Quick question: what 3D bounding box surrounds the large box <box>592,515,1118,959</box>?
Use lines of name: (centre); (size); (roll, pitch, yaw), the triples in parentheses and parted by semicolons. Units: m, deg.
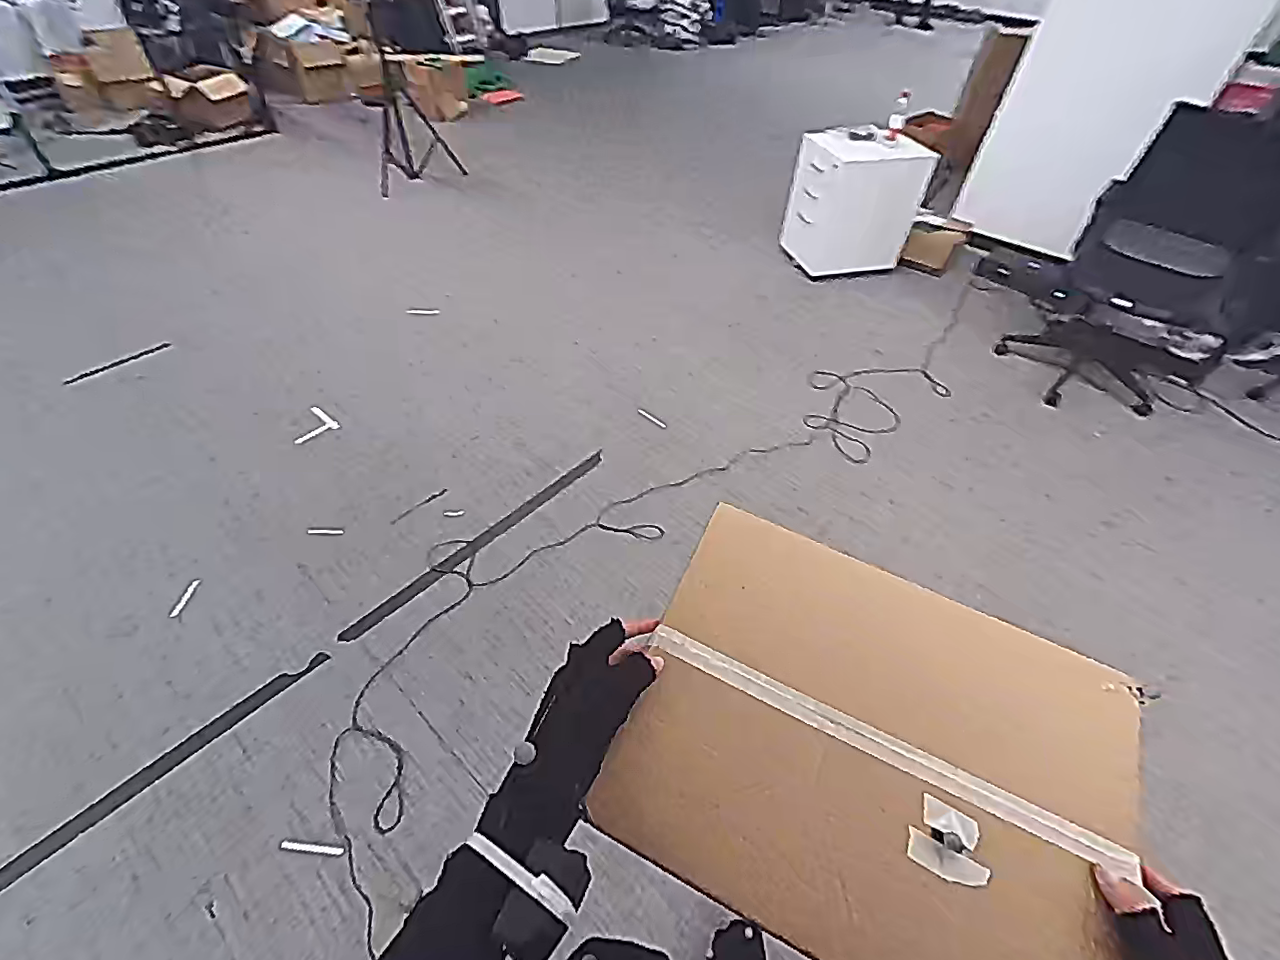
large box: (0.195, 0.300, 0.600); (0.408, 0.320, 0.320); (23, 62, 12)
